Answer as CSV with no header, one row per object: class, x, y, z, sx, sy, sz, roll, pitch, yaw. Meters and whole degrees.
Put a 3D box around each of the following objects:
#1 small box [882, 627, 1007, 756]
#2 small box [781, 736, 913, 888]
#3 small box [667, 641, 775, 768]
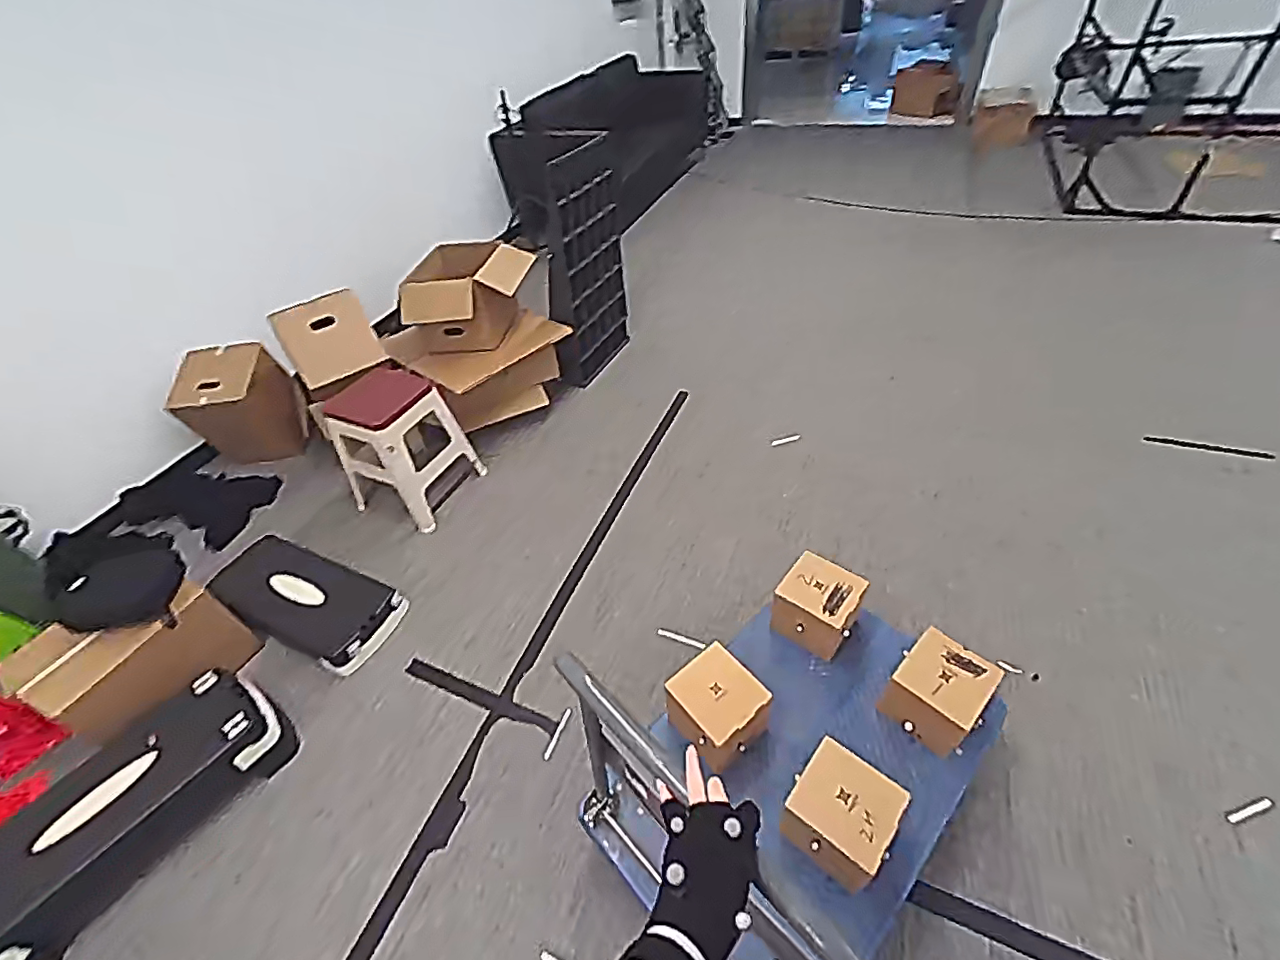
small box,0.668,0.472,1.207,0.179,0.176,0.168,-36,51,-26
small box,0.394,0.650,1.057,0.179,0.176,0.168,29,54,32
small box,0.178,0.512,1.227,0.168,0.176,0.179,-32,51,-24
